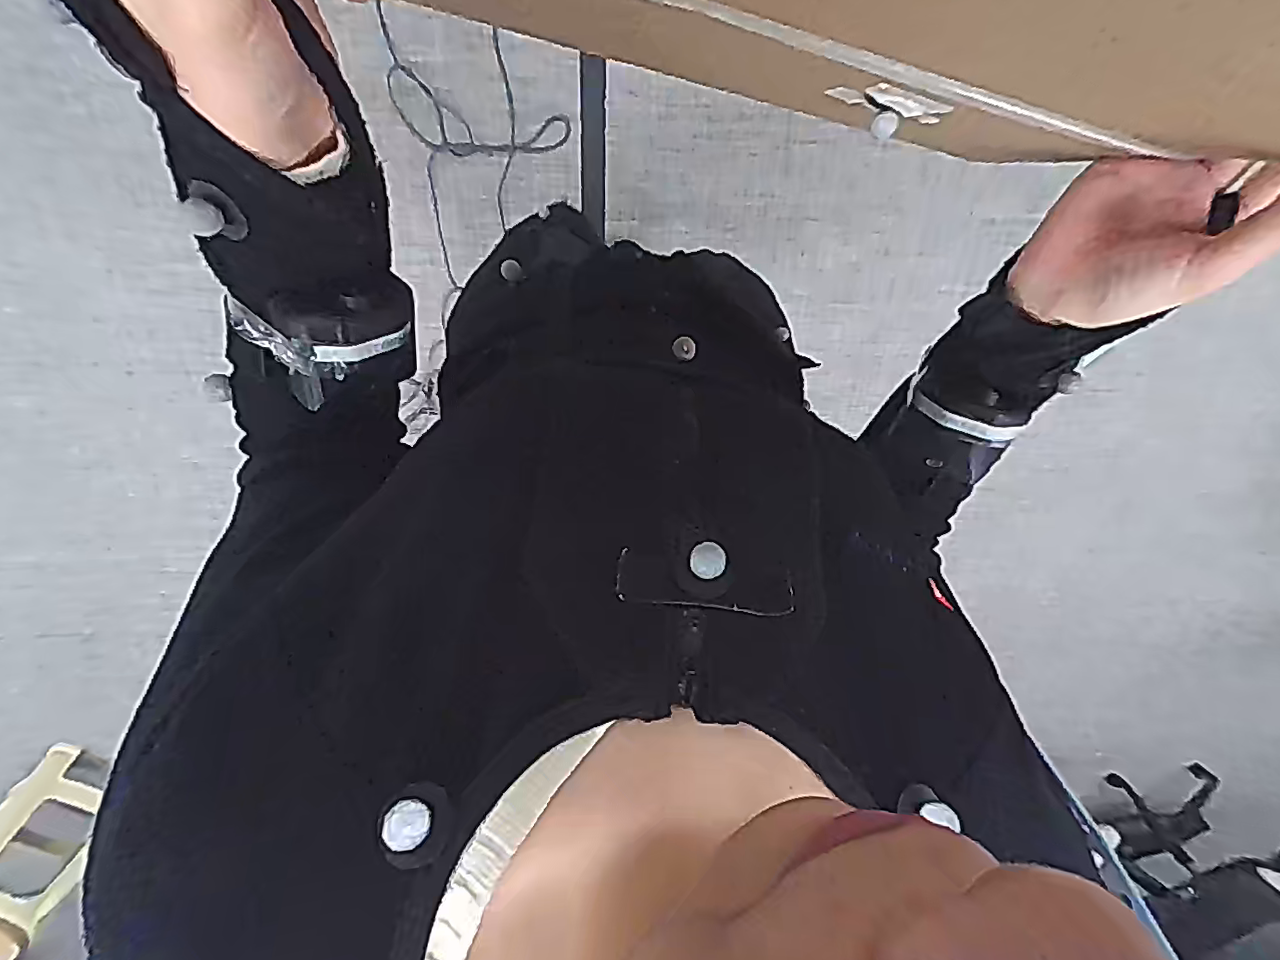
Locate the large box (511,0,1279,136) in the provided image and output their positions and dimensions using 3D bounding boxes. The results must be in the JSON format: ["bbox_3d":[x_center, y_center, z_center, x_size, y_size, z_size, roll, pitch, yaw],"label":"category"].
[{"bbox_3d":[0.093,-0.302,0.115,0.408,0.320,0.320,4,120,-14],"label":"large box"}]
